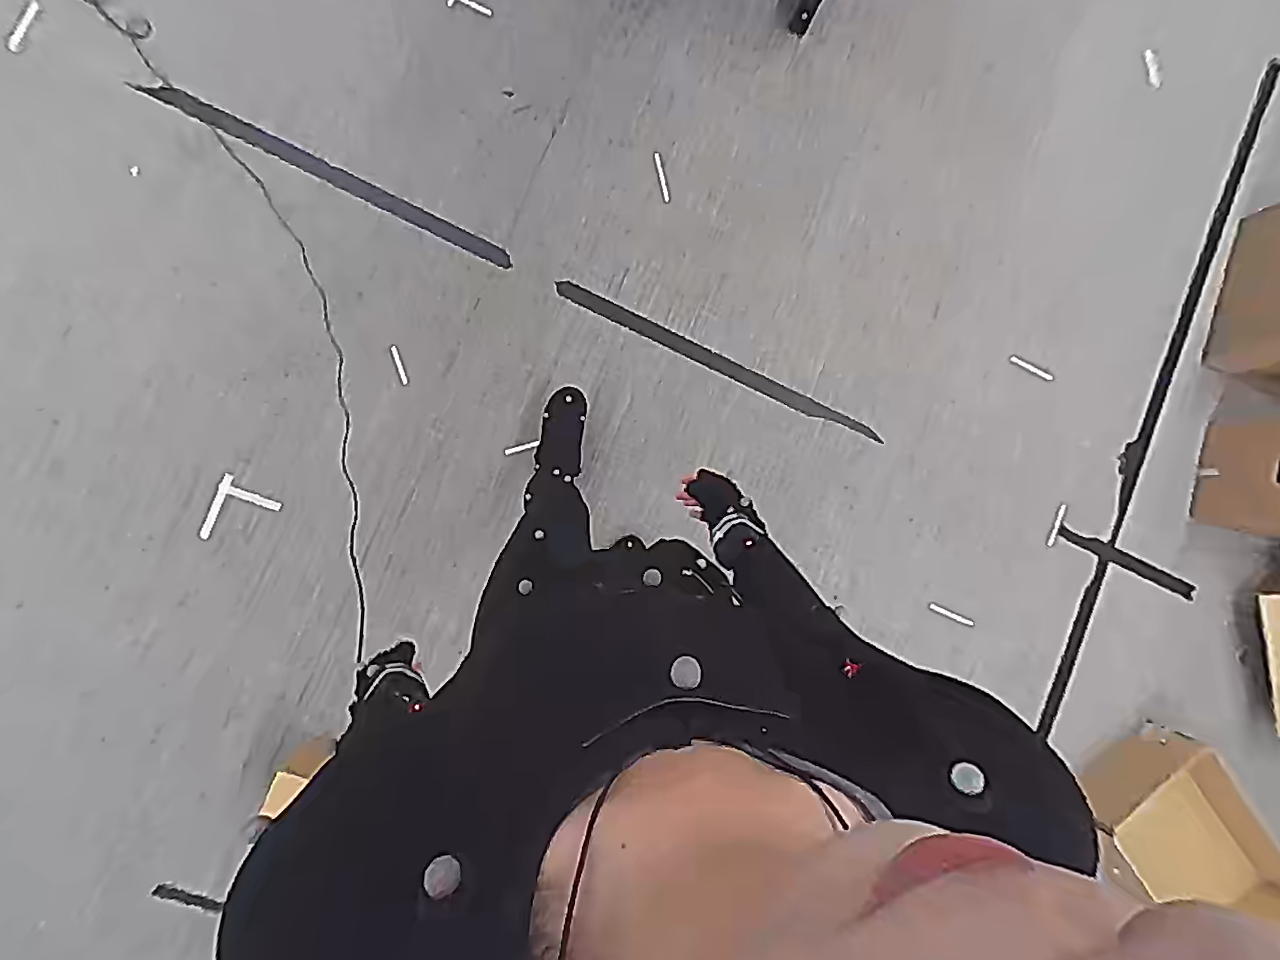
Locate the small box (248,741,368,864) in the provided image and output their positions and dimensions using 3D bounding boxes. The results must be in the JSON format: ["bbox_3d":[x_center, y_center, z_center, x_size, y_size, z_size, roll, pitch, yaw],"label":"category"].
[{"bbox_3d":[-0.800,0.781,1.326,0.168,0.176,0.179,23,85,-7],"label":"small box"}]
